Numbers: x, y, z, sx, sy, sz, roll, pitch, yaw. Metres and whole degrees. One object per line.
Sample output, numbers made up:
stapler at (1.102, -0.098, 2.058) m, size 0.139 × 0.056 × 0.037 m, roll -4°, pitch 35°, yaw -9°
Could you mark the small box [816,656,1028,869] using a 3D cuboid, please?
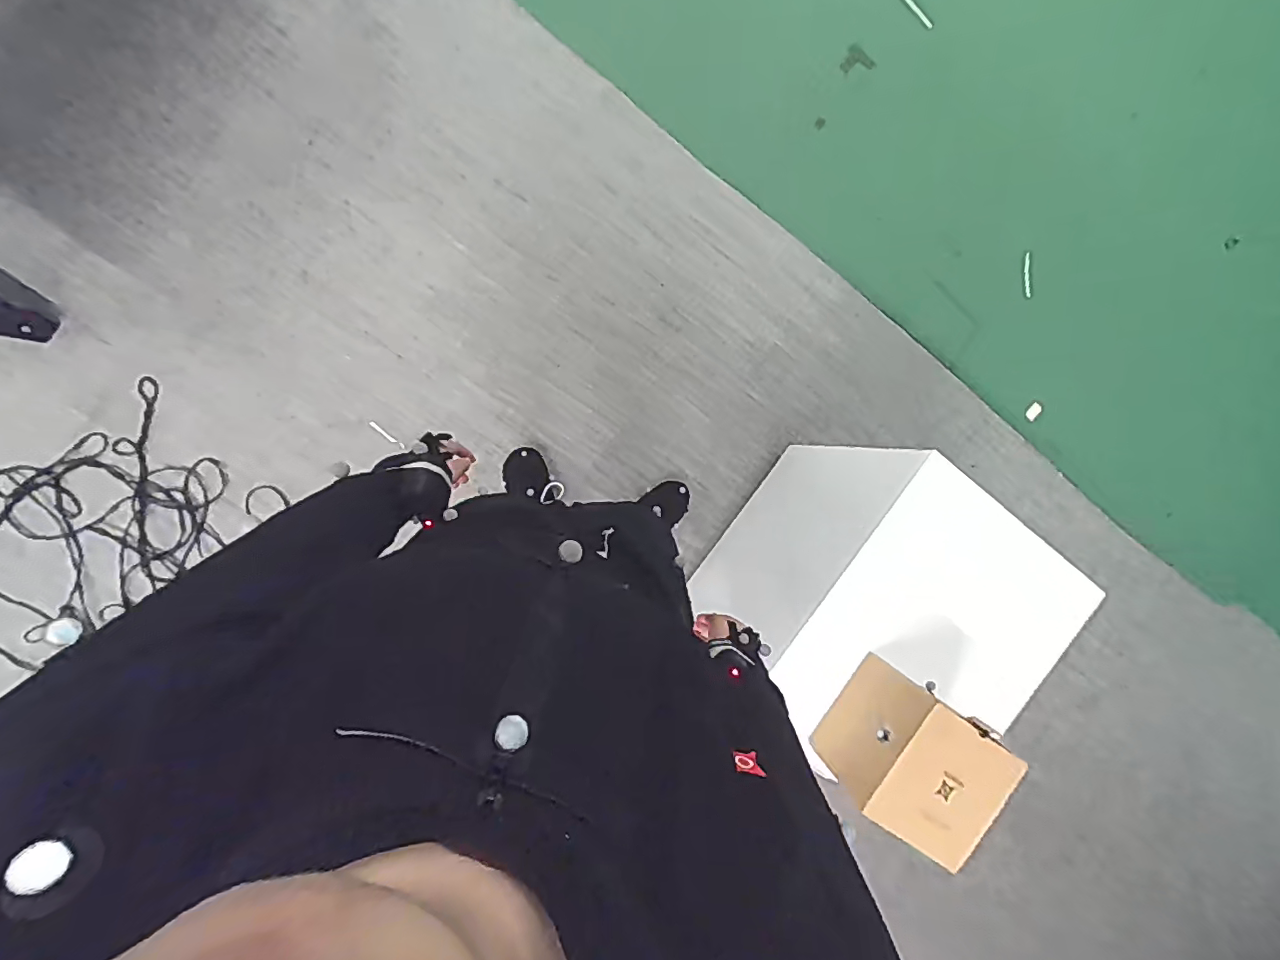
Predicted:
small box at (0.385, 0.386, 0.772) m, size 0.168 × 0.176 × 0.179 m, roll 35°, pitch 90°, yaw -7°
